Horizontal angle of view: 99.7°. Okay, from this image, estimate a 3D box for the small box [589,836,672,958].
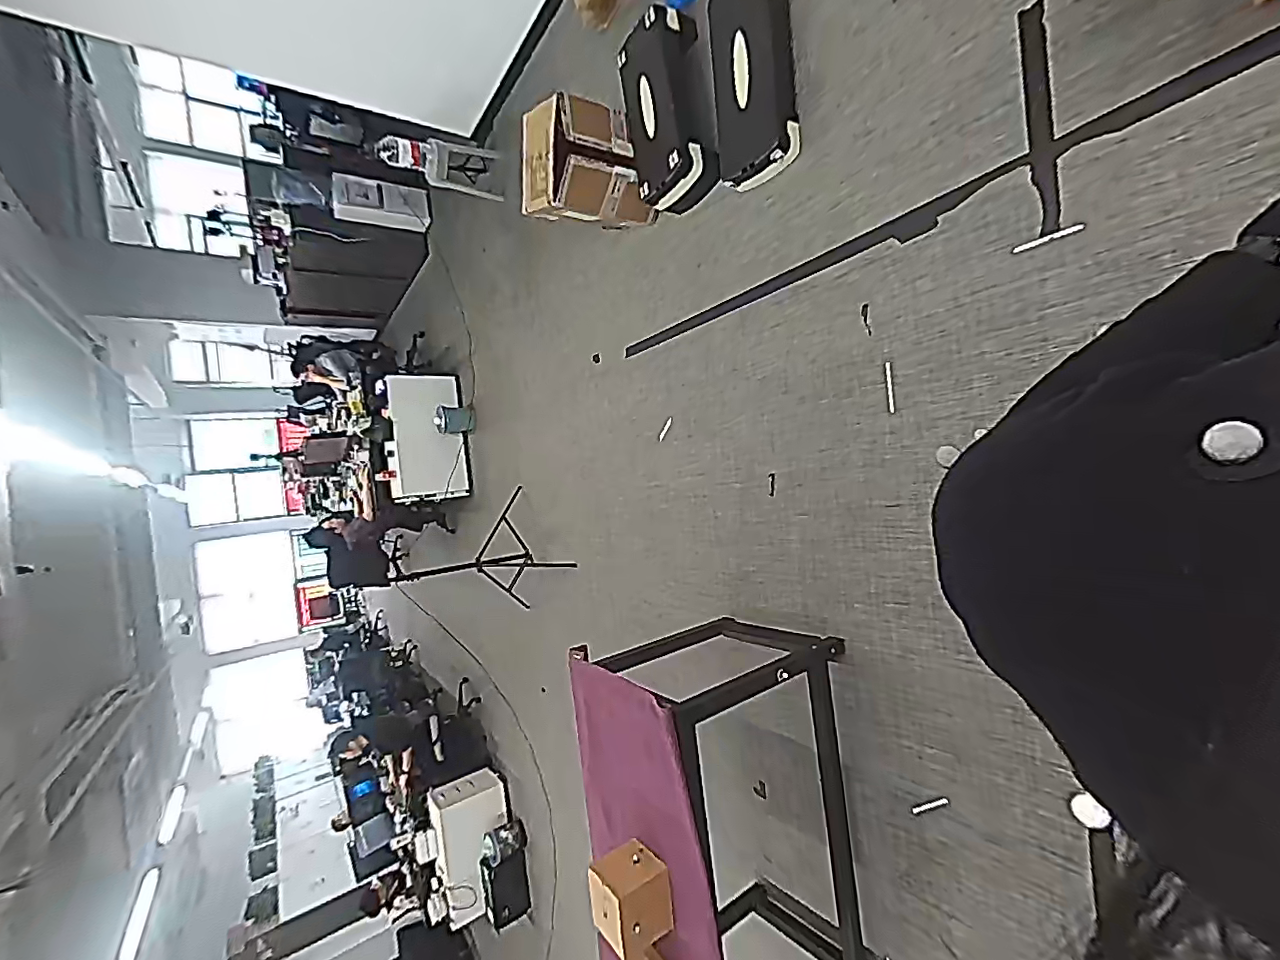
[{"bbox_3d":[-0.024,1.157,1.516,0.168,0.176,0.179,-1,94,55],"label":"small box"}]
